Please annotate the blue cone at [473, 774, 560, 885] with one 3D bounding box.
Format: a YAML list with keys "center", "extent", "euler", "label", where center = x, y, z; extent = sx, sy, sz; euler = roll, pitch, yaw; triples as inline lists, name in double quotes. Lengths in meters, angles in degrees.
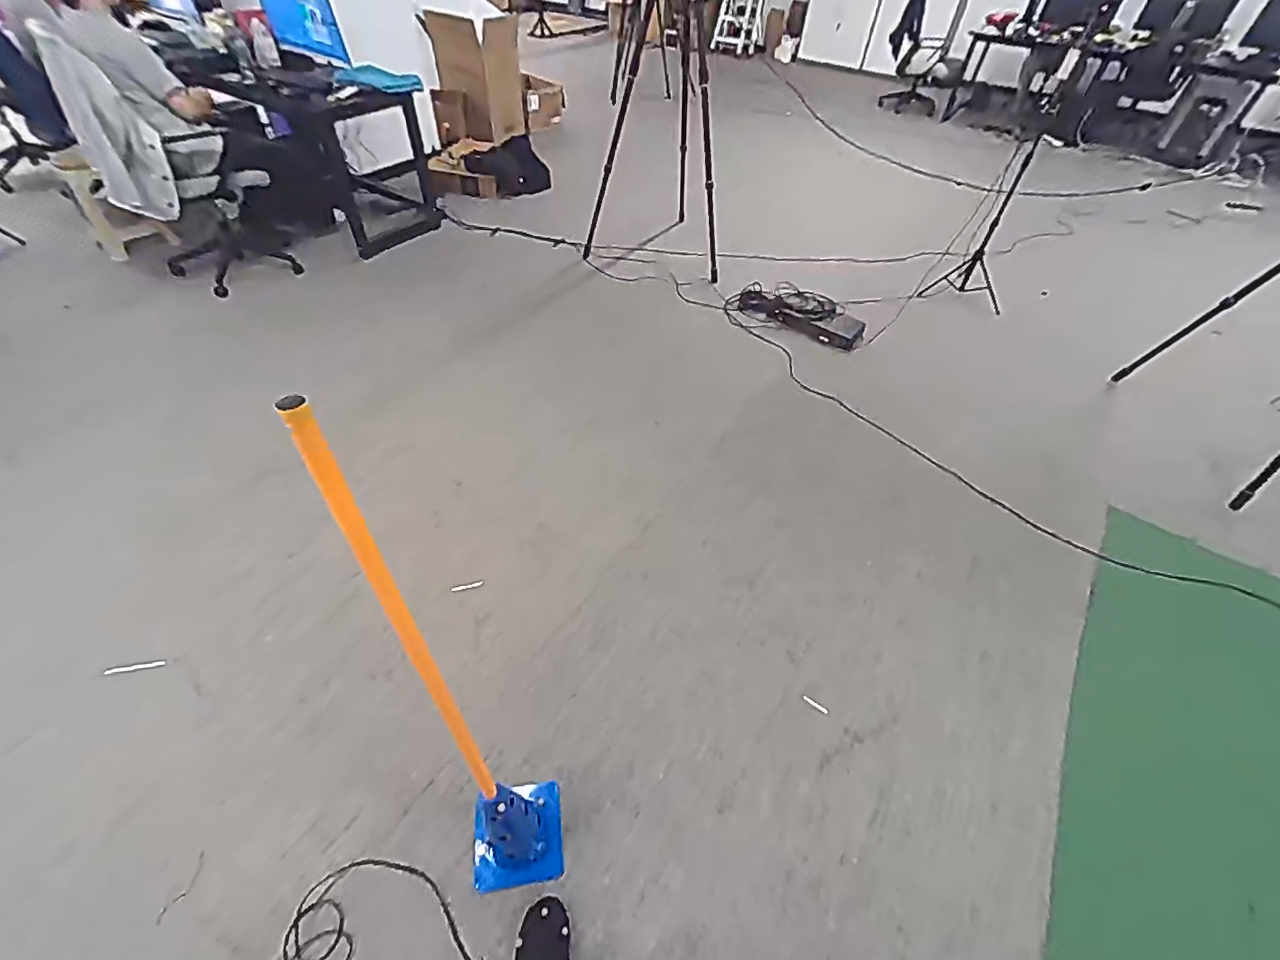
- center: [-0.284, 0.695, 1.131]
  extent: [0.192, 0.380, 0.193]
  euler: [-7, 46, -9]
  label: "blue cone"
